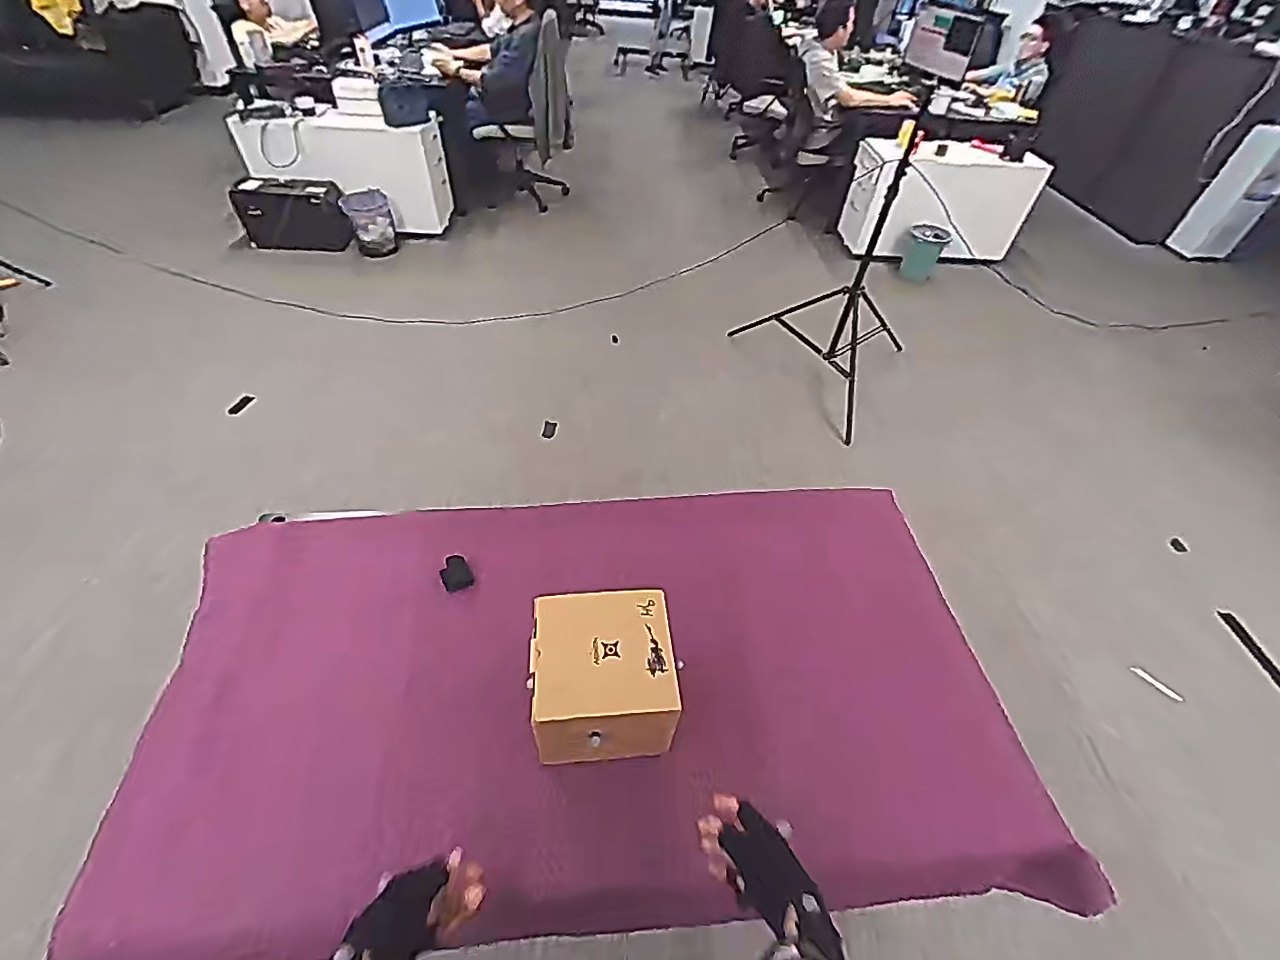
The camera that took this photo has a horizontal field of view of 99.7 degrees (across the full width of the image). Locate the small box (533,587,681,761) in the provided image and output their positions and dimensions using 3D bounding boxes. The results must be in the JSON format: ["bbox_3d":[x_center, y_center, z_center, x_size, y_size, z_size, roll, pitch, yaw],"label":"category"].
[{"bbox_3d":[-0.046,0.266,0.737,0.179,0.176,0.168,-3,47,-6],"label":"small box"}]
